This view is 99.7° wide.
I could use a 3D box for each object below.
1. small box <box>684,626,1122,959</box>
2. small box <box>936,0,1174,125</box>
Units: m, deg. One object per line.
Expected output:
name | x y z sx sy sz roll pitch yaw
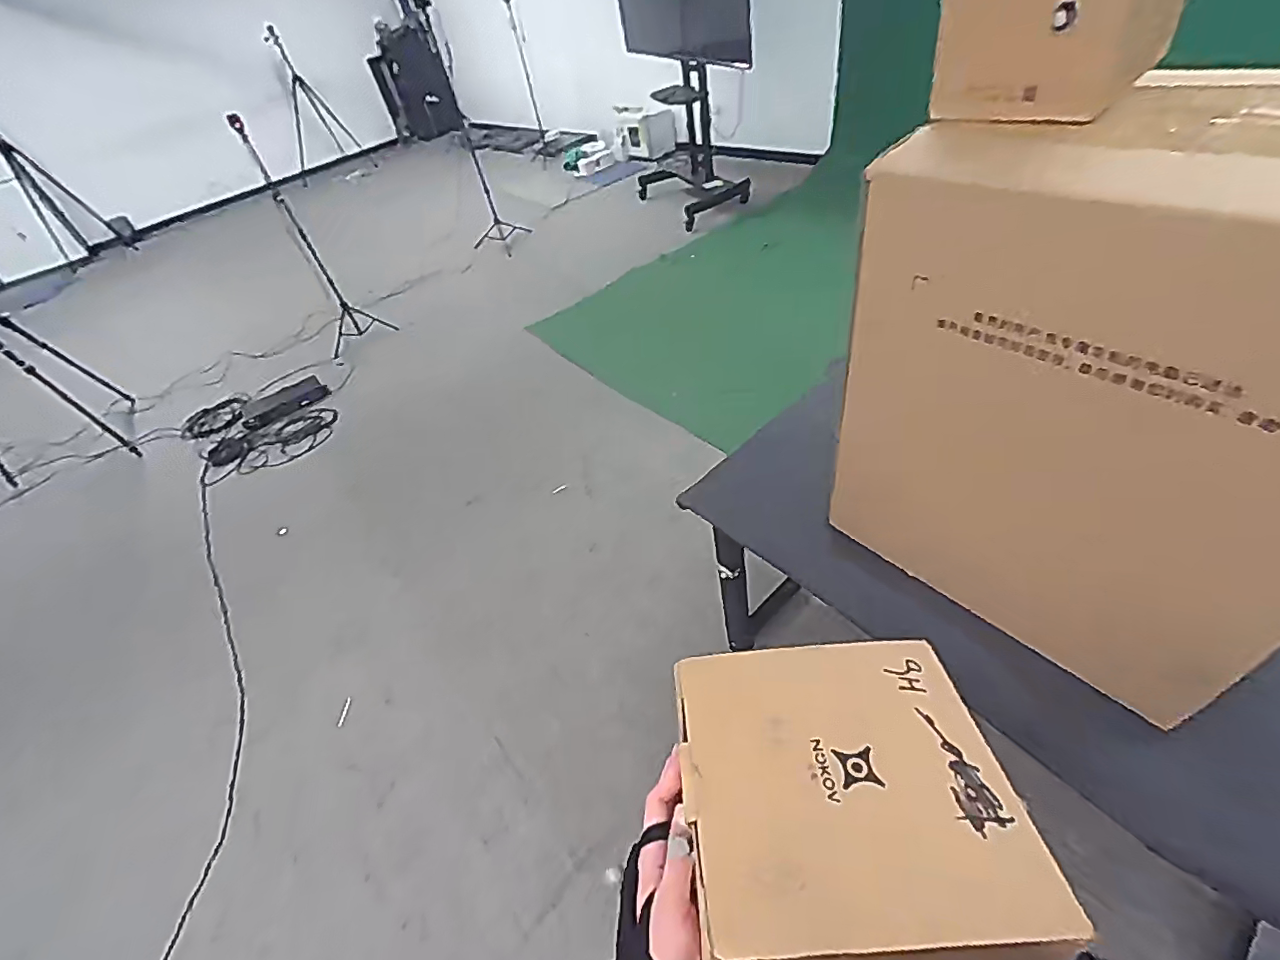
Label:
small box | 0.125 0.216 0.339 0.179 0.176 0.168 -4 34 1
small box | 0.435 -0.492 0.562 0.179 0.176 0.168 -39 49 -21
